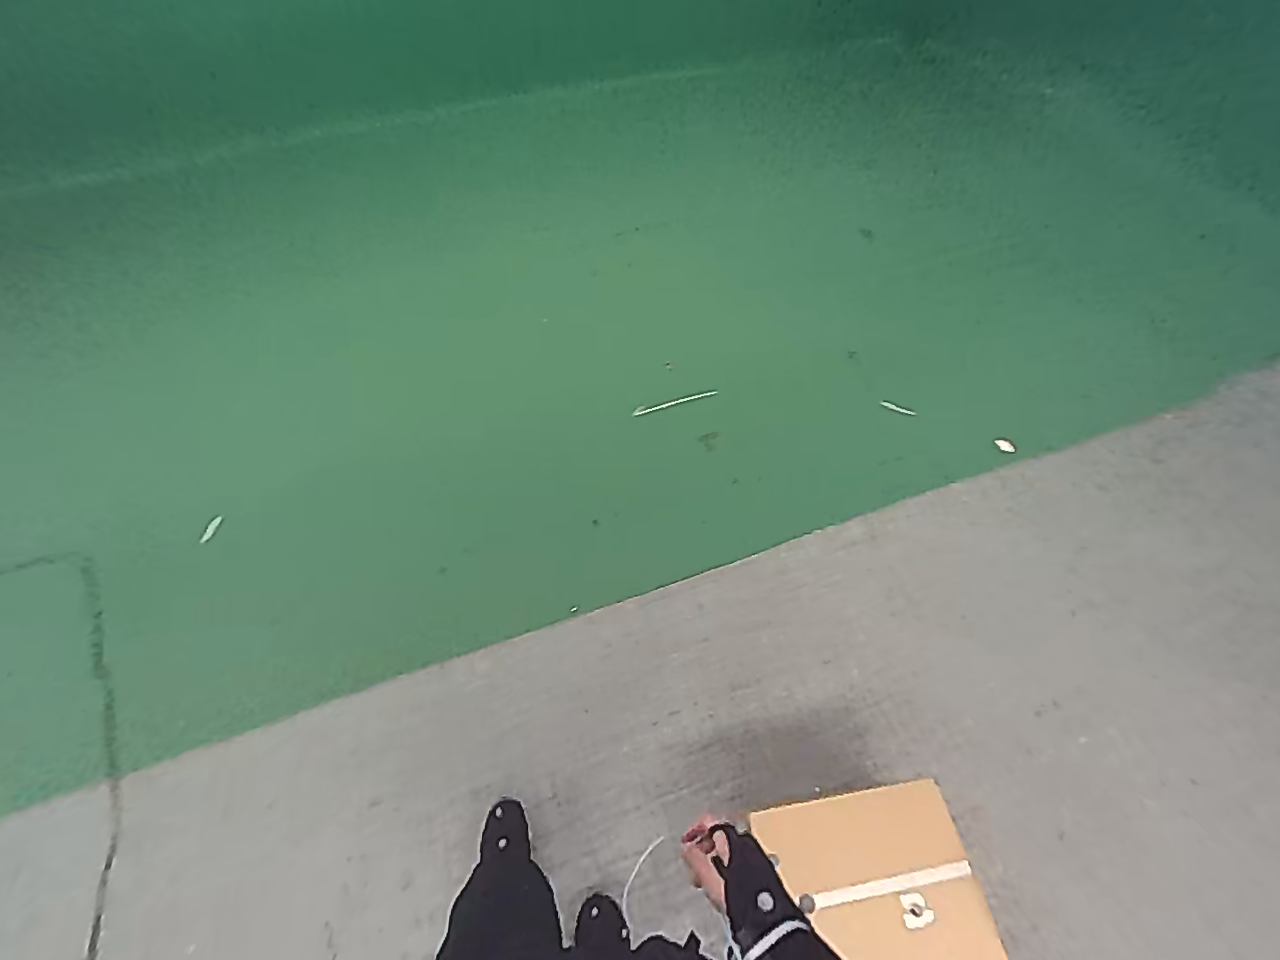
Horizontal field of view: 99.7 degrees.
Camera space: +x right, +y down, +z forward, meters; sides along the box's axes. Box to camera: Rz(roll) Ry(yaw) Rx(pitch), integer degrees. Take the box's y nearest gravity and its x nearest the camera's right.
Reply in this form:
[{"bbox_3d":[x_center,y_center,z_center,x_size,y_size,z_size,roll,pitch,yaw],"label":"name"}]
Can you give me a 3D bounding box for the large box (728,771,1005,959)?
[{"bbox_3d":[0.437,0.847,1.156,0.408,0.320,0.320,-8,59,-5],"label":"large box"}]
